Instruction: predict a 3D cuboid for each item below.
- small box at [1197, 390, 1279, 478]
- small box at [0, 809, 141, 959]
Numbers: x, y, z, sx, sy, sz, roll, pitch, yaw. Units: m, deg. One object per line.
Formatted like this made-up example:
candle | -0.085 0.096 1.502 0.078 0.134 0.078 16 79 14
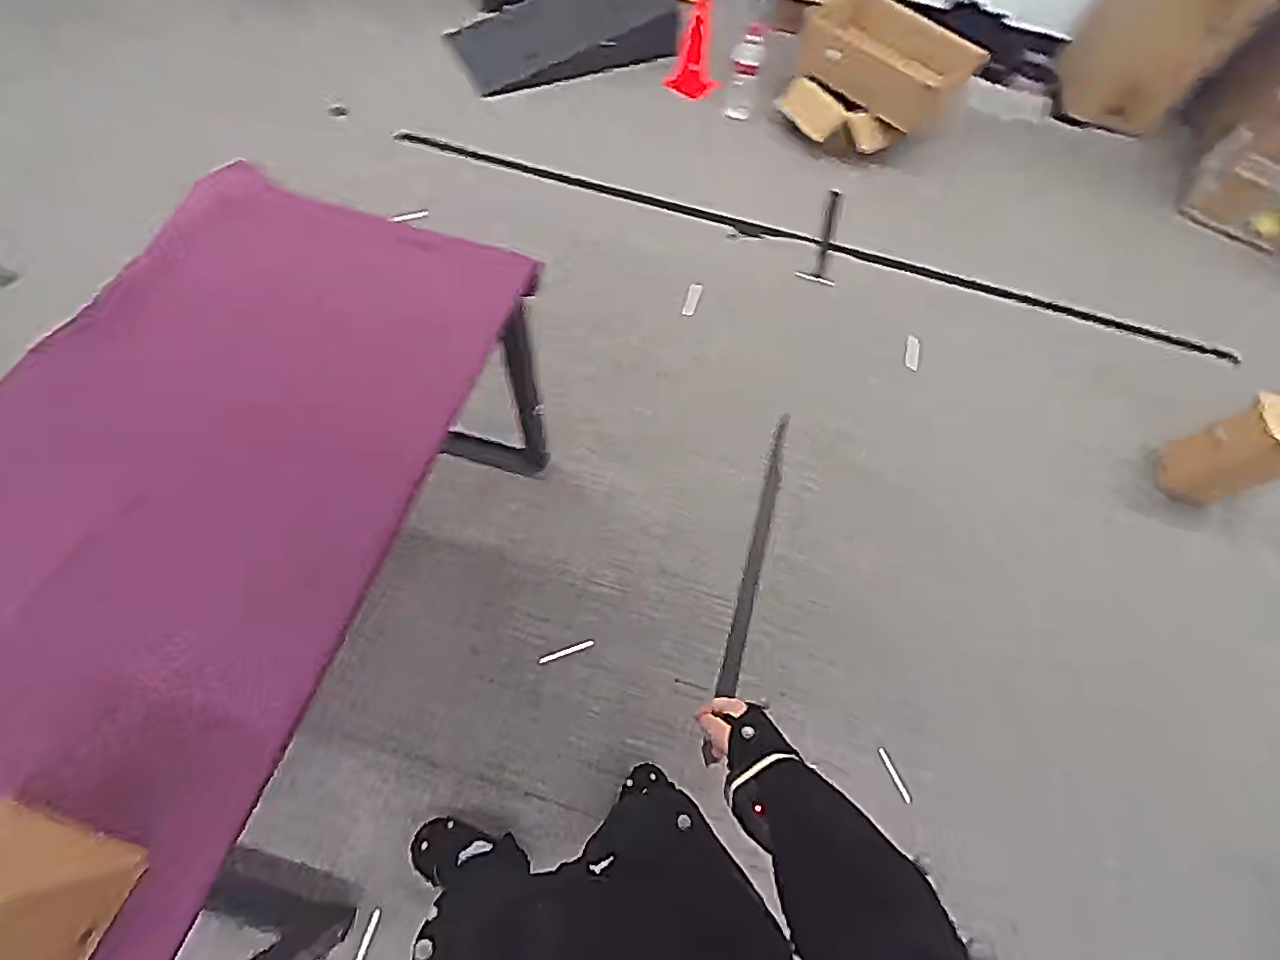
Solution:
small box | 1.786 -0.126 1.561 0.179 0.176 0.168 19 64 5
small box | -0.608 0.399 0.458 0.179 0.176 0.168 19 64 3
